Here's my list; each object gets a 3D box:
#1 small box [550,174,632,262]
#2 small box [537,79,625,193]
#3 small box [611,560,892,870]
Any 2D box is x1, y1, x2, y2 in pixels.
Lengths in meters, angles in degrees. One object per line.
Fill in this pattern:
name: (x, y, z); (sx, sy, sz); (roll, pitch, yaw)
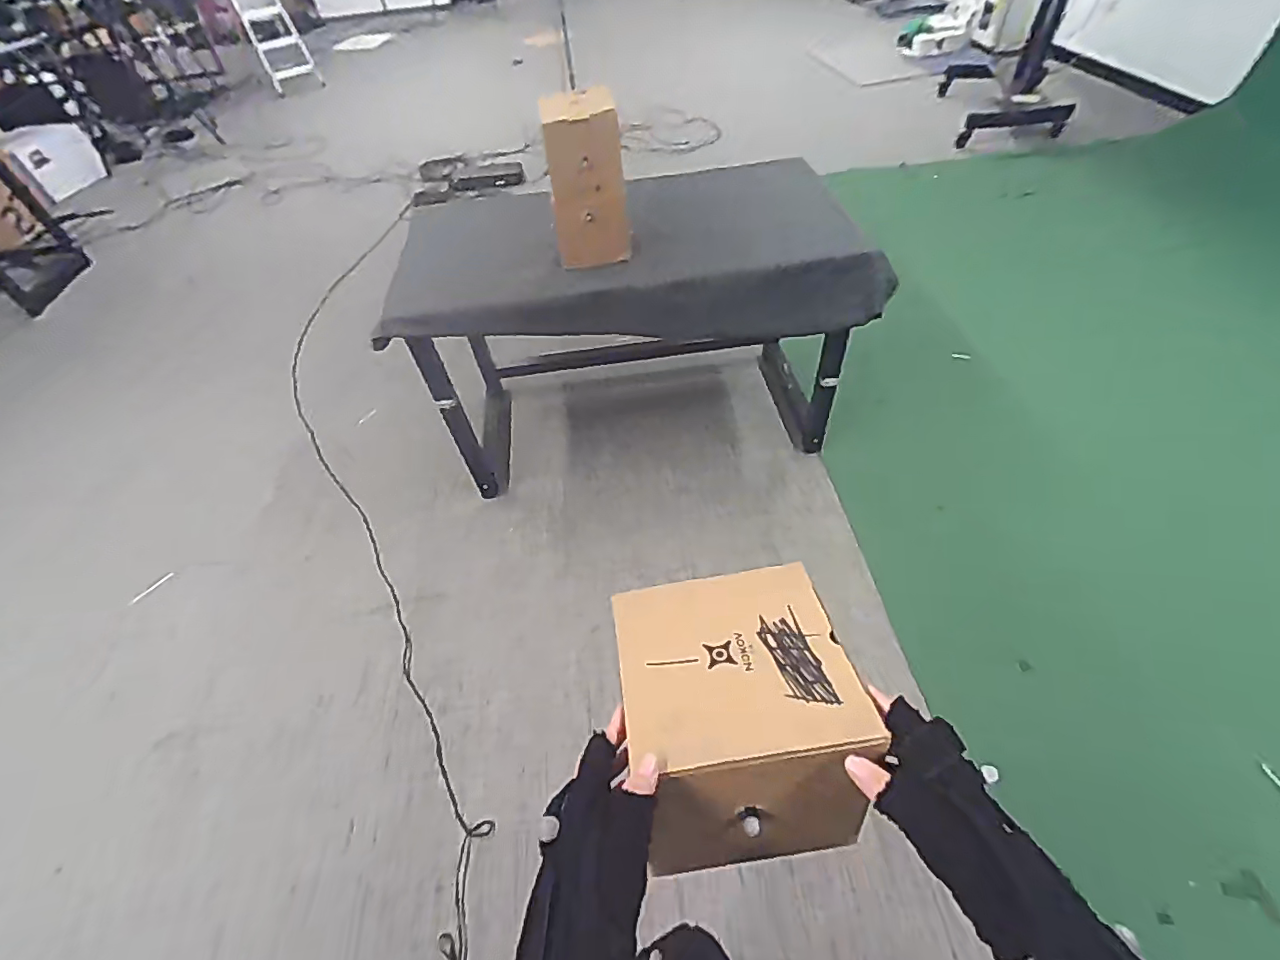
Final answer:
small box: (-0.119, -0.662, 1.346); (0.179, 0.176, 0.168); (-8, 51, -2)
small box: (-0.132, -0.769, 1.223); (0.168, 0.176, 0.179); (-10, 52, -2)
small box: (0.077, 0.196, 0.463); (0.179, 0.176, 0.168); (-9, 36, -6)
